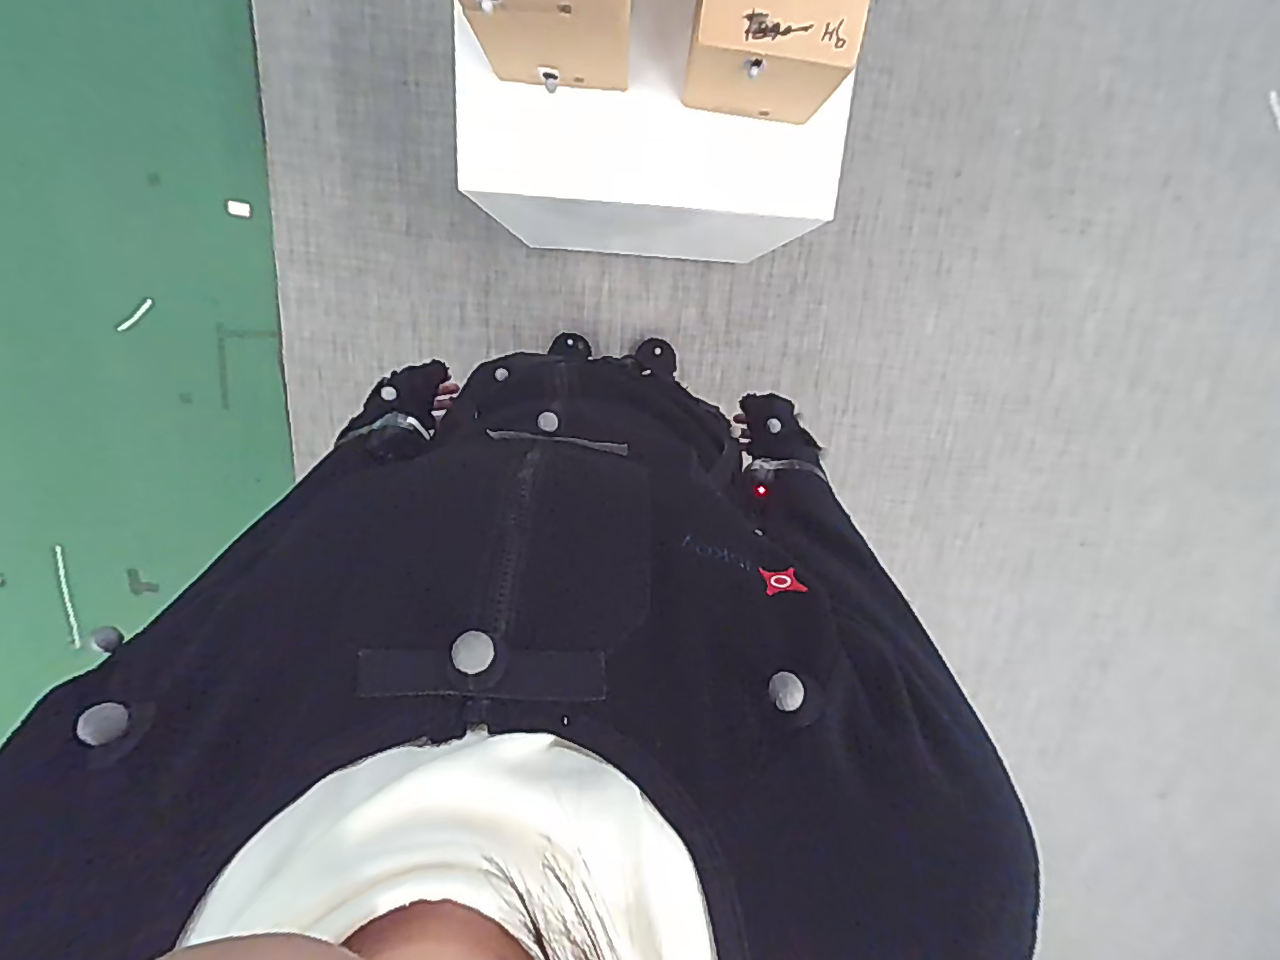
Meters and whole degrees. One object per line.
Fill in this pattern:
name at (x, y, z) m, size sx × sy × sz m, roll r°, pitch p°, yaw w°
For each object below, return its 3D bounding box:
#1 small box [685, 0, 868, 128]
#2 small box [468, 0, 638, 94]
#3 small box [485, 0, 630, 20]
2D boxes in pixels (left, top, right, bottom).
small box at (0.148, -0.533, 0.604) m, size 0.168 × 0.176 × 0.179 m, roll 8°, pitch 105°, yaw -3°
small box at (-0.086, -0.563, 0.594) m, size 0.168 × 0.176 × 0.179 m, roll 2°, pitch 107°, yaw -1°
small box at (-0.085, -0.519, 0.435) m, size 0.168 × 0.176 × 0.179 m, roll 4°, pitch 105°, yaw -2°
